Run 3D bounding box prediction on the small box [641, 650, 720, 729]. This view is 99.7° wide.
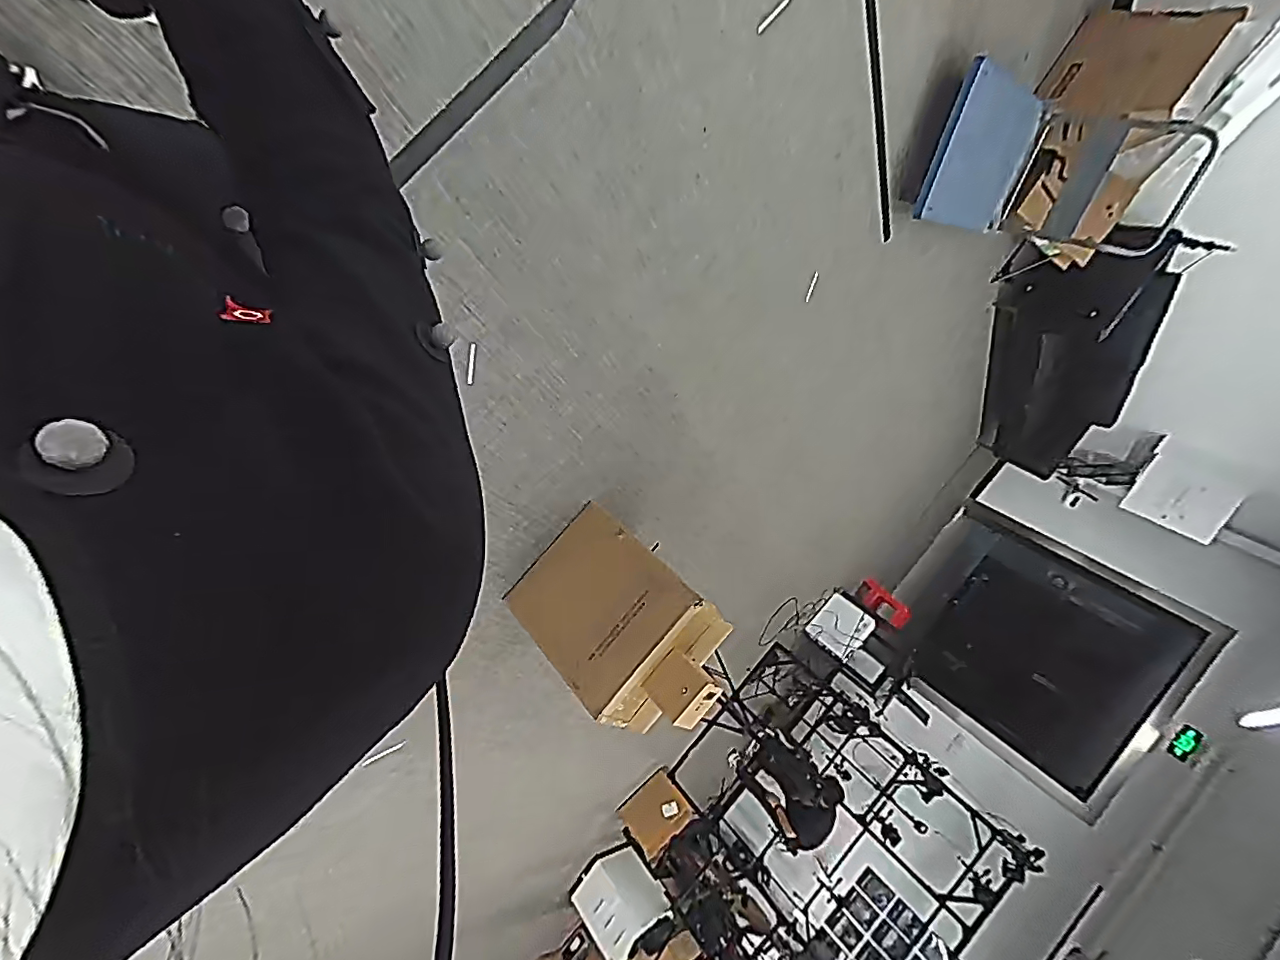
[{"bbox_3d":[0.133,0.697,1.807,0.179,0.176,0.168,-48,142,-5],"label":"small box"}]
